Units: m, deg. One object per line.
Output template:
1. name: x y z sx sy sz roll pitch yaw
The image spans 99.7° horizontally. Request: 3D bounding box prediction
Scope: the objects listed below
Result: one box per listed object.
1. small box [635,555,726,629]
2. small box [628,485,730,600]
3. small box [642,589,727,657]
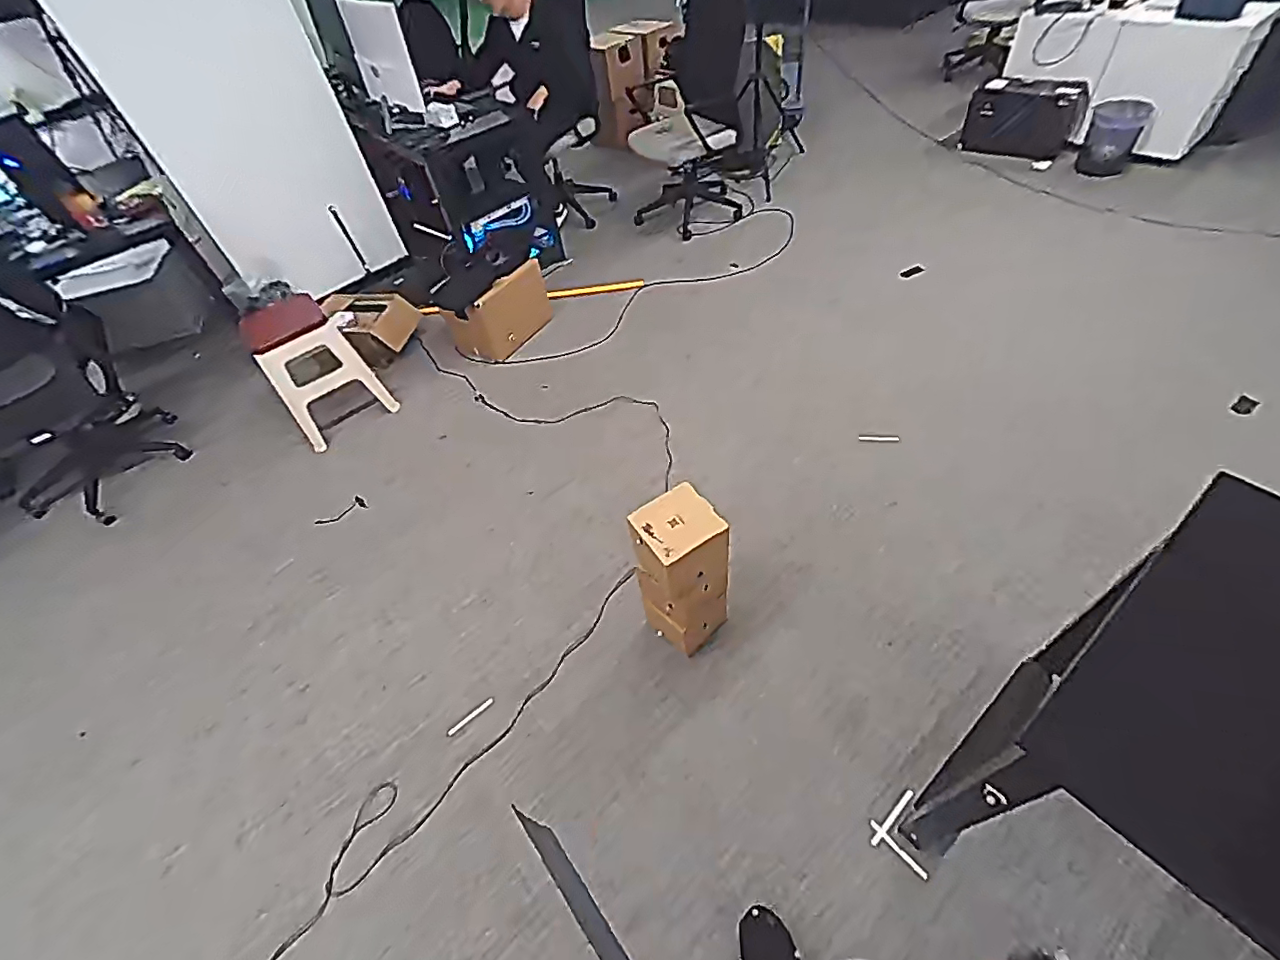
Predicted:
1. small box: 0.110 0.254 1.406 0.168 0.176 0.179 34 61 30
2. small box: 0.092 0.150 1.280 0.179 0.176 0.168 -29 52 -16
3. small box: 0.127 0.362 1.526 0.179 0.176 0.168 -39 55 -21
